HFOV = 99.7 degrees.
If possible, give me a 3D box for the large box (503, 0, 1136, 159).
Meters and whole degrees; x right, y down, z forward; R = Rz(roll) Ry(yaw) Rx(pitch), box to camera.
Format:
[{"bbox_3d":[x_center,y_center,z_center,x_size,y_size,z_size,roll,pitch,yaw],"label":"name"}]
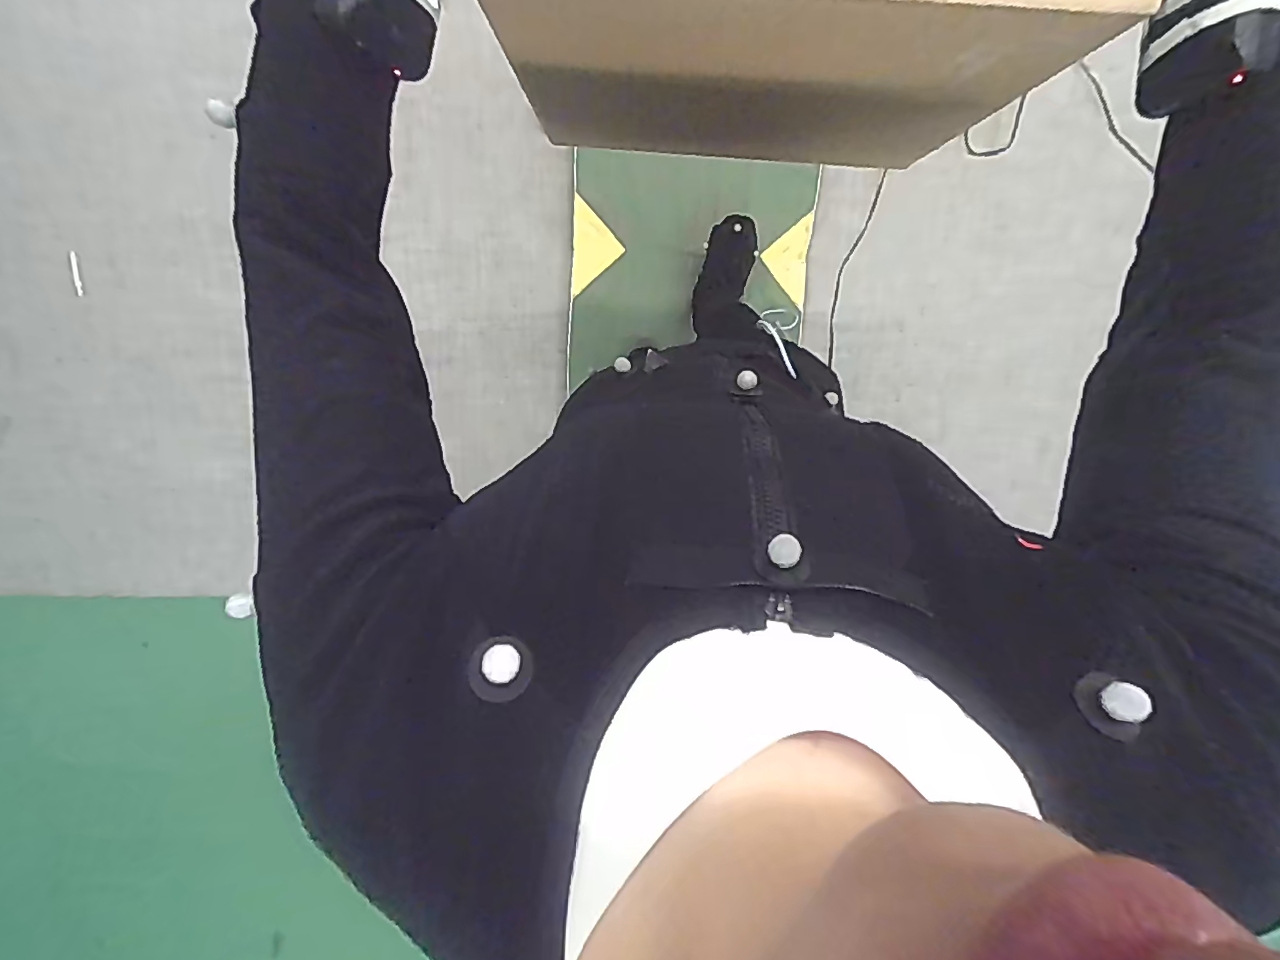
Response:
[{"bbox_3d":[0.110,-0.477,0.429,0.408,0.320,0.320,3,106,-1],"label":"large box"}]
